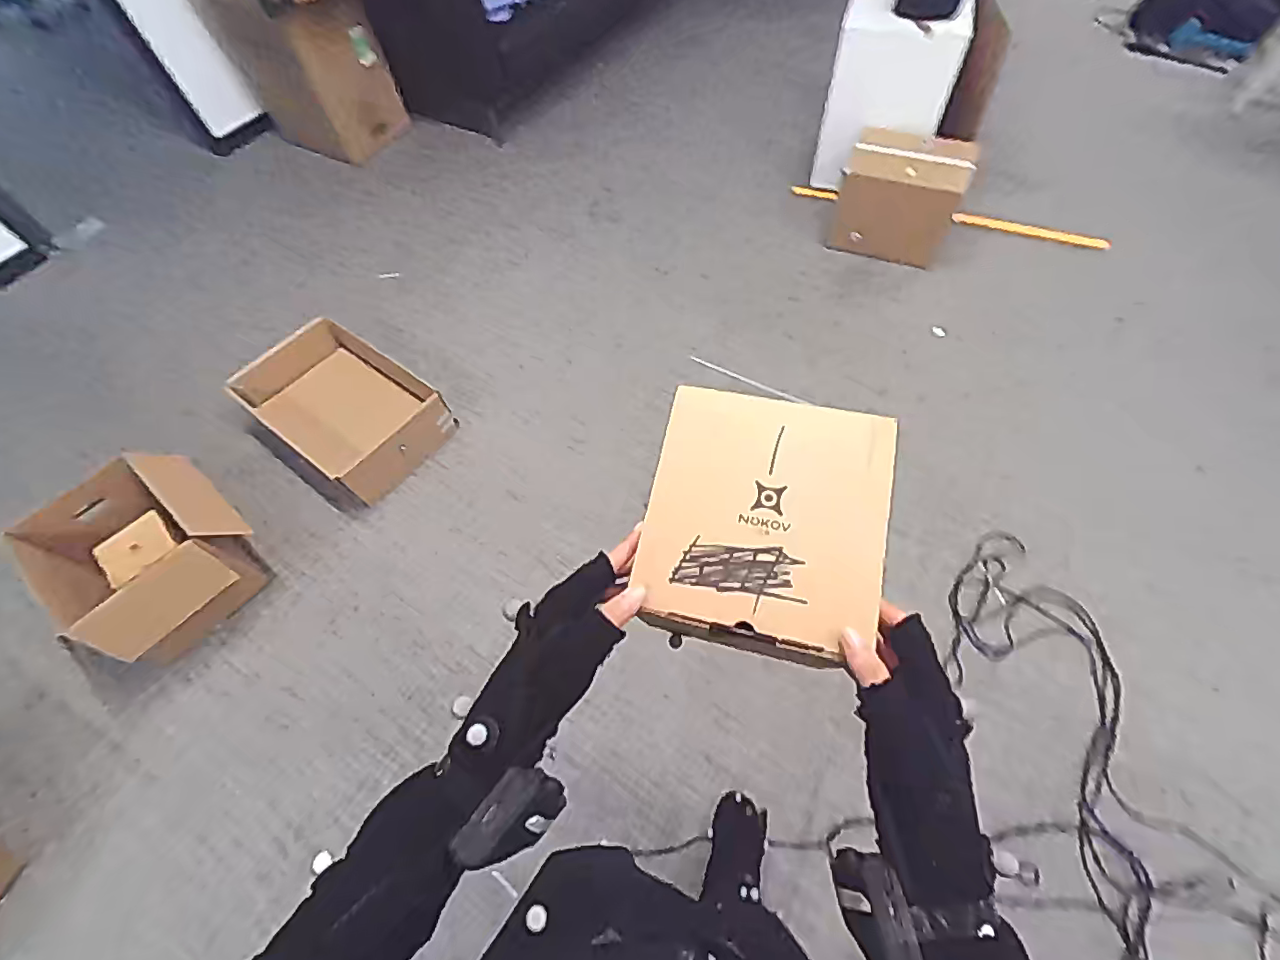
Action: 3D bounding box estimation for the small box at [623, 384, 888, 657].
[{"bbox_3d":[0.095,0.045,0.460,0.168,0.176,0.179,10,70,10],"label":"small box"}]
